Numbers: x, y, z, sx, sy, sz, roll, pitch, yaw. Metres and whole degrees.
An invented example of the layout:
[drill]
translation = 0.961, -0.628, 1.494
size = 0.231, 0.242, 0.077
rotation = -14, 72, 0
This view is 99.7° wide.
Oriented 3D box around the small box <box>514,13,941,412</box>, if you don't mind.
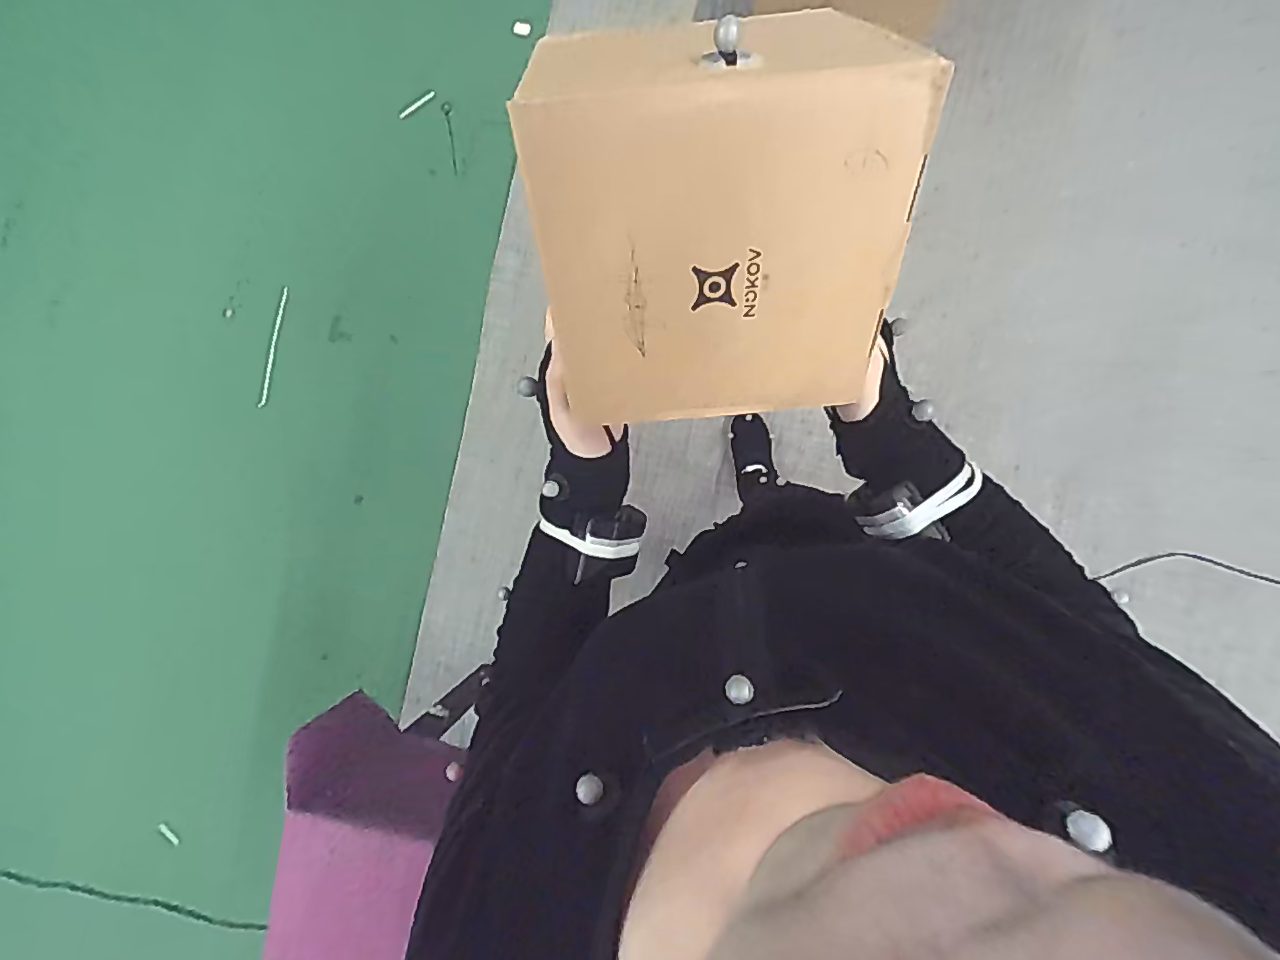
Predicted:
[small box]
translation = 0.032, -0.161, 0.325
size = 0.179, 0.168, 0.176
rotation = -4, 46, 0
